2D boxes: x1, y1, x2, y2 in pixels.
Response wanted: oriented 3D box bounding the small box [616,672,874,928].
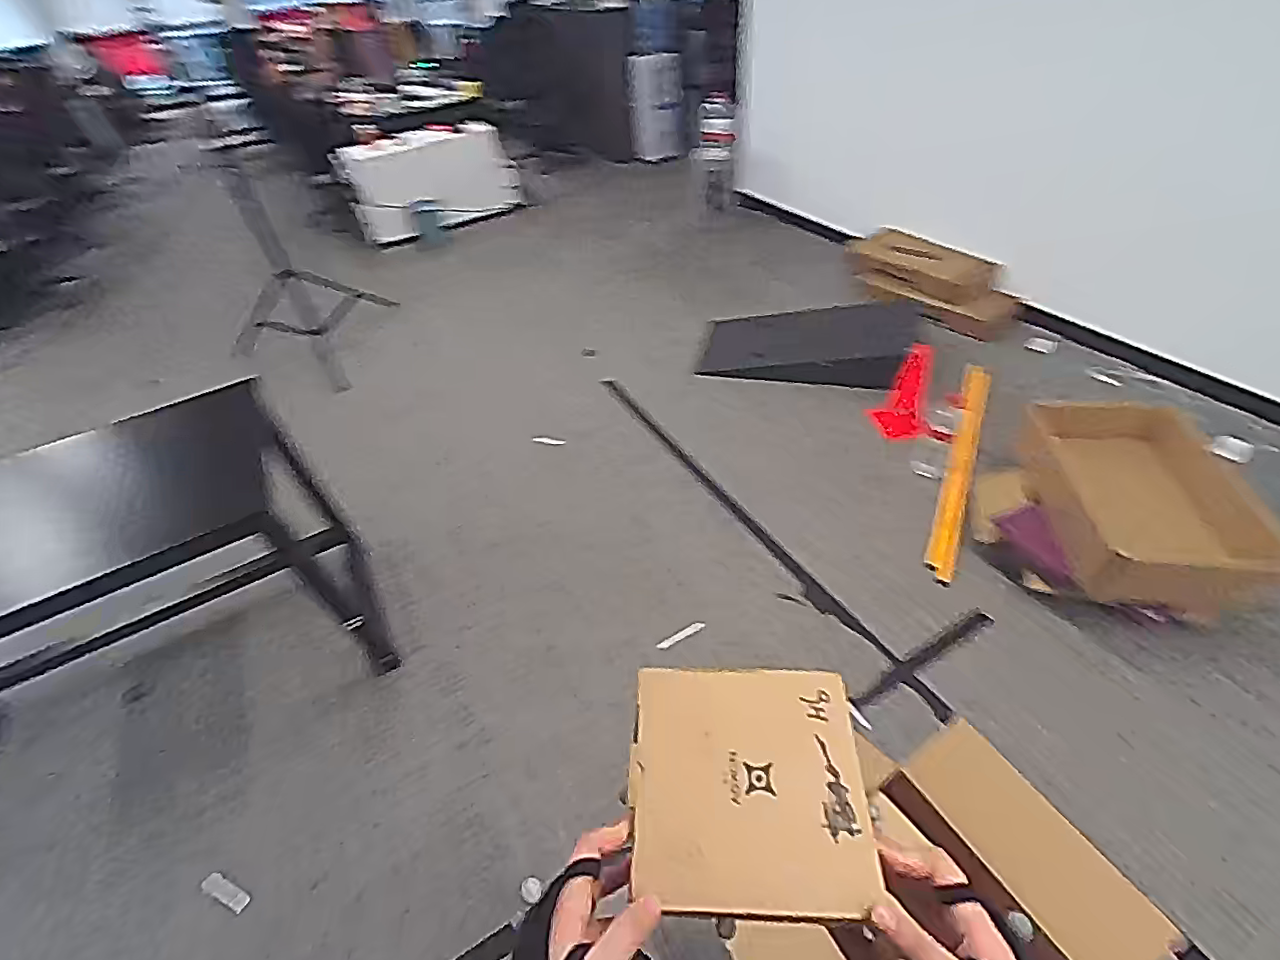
[{"bbox_3d":[0.077,0.281,0.473,0.179,0.176,0.168,-1,50,3],"label":"small box"}]
